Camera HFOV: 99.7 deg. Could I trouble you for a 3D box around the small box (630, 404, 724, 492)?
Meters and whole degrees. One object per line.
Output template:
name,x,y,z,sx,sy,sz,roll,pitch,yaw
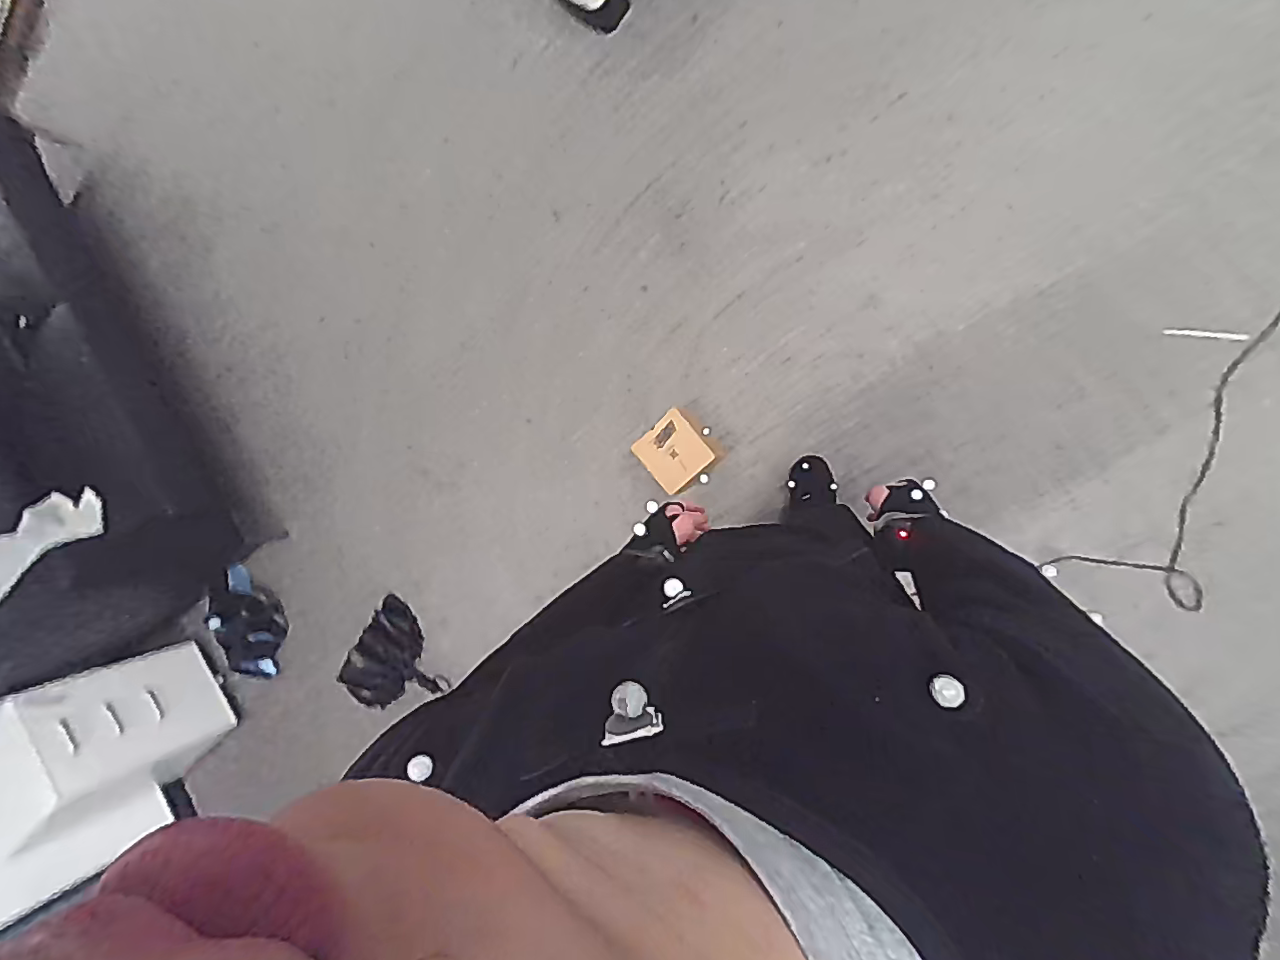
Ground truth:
small box,0.108,-0.088,1.500,0.168,0.176,0.179,-42,81,18
